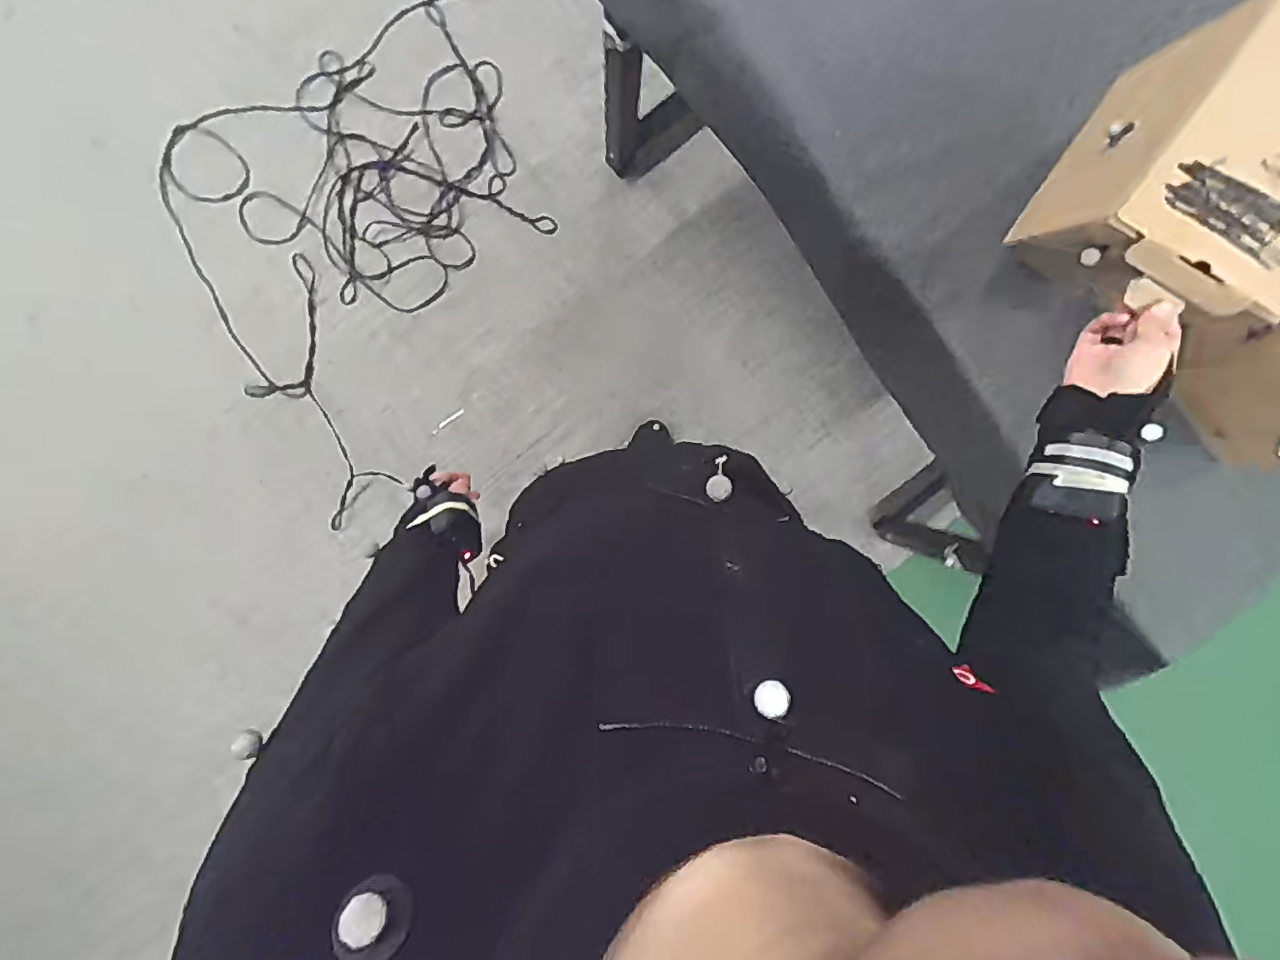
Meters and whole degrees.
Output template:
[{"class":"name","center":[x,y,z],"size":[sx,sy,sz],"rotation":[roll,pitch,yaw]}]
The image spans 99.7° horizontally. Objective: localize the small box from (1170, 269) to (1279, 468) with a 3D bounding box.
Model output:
[{"class":"small box","center":[0.727,-0.121,0.568],"size":[0.168,0.176,0.179],"rotation":[45,90,-7]}]
